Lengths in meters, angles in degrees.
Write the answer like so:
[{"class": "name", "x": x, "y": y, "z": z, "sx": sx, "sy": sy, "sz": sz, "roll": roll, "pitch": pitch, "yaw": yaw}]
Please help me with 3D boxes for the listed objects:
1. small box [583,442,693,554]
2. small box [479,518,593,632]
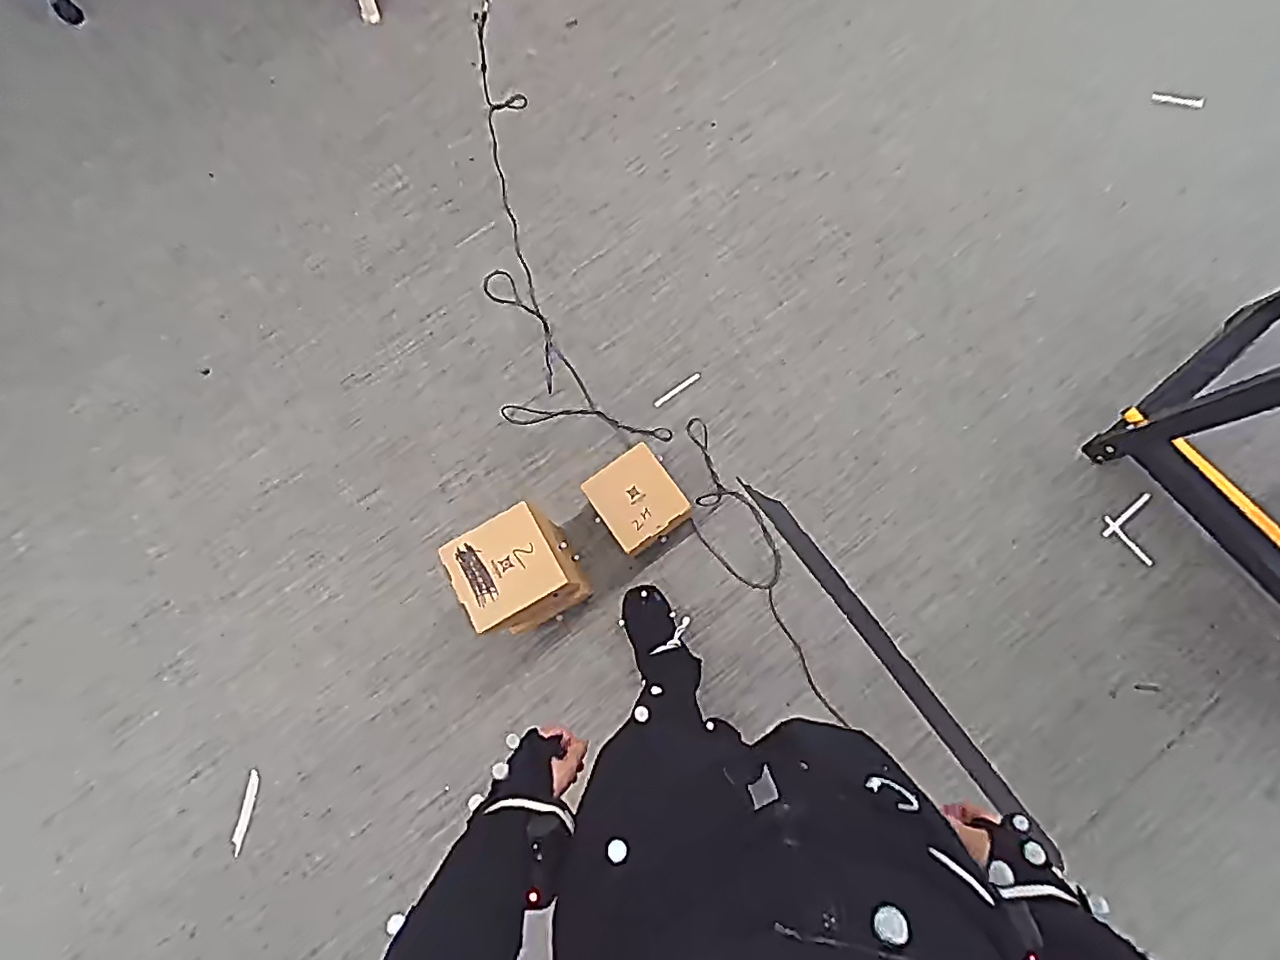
[{"class": "small box", "x": -0.003, "y": 0.048, "z": 1.185, "sx": 0.168, "sy": 0.176, "sz": 0.179, "roll": -35, "pitch": 79, "yaw": -4}, {"class": "small box", "x": -0.214, "y": 0.205, "z": 1.156, "sx": 0.168, "sy": 0.176, "sz": 0.179, "roll": -29, "pitch": 80, "yaw": -4}]
